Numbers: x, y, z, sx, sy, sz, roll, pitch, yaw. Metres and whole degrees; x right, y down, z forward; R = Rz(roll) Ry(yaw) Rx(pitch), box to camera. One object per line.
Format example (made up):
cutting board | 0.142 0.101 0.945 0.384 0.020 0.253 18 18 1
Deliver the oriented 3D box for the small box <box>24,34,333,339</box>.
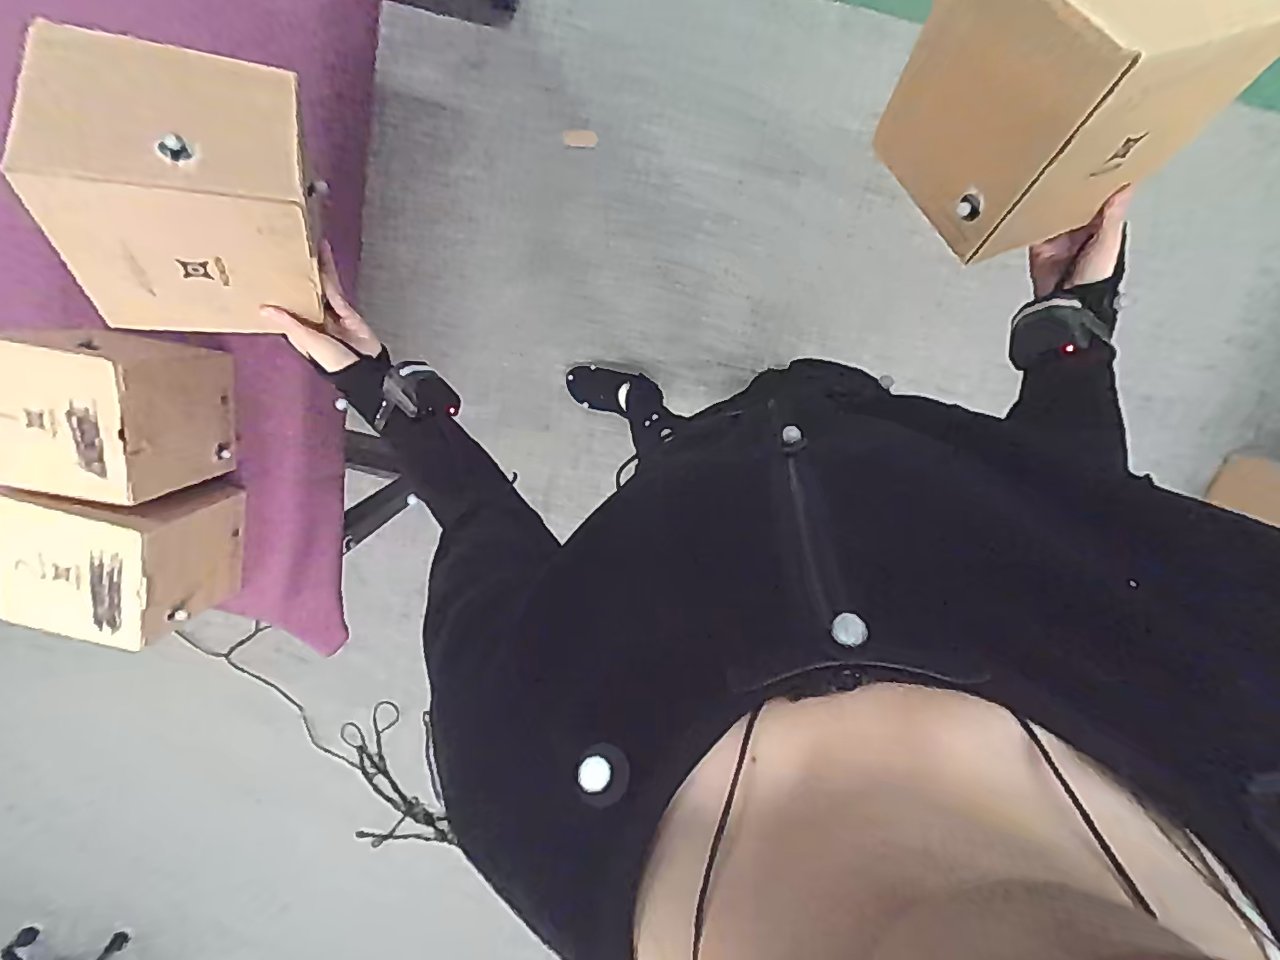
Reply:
small box | -0.389 -0.249 0.490 0.179 0.168 0.176 -4 69 -27

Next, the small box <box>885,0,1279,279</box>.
small box | 0.336 -0.305 0.437 0.168 0.179 0.176 -20 72 -10
